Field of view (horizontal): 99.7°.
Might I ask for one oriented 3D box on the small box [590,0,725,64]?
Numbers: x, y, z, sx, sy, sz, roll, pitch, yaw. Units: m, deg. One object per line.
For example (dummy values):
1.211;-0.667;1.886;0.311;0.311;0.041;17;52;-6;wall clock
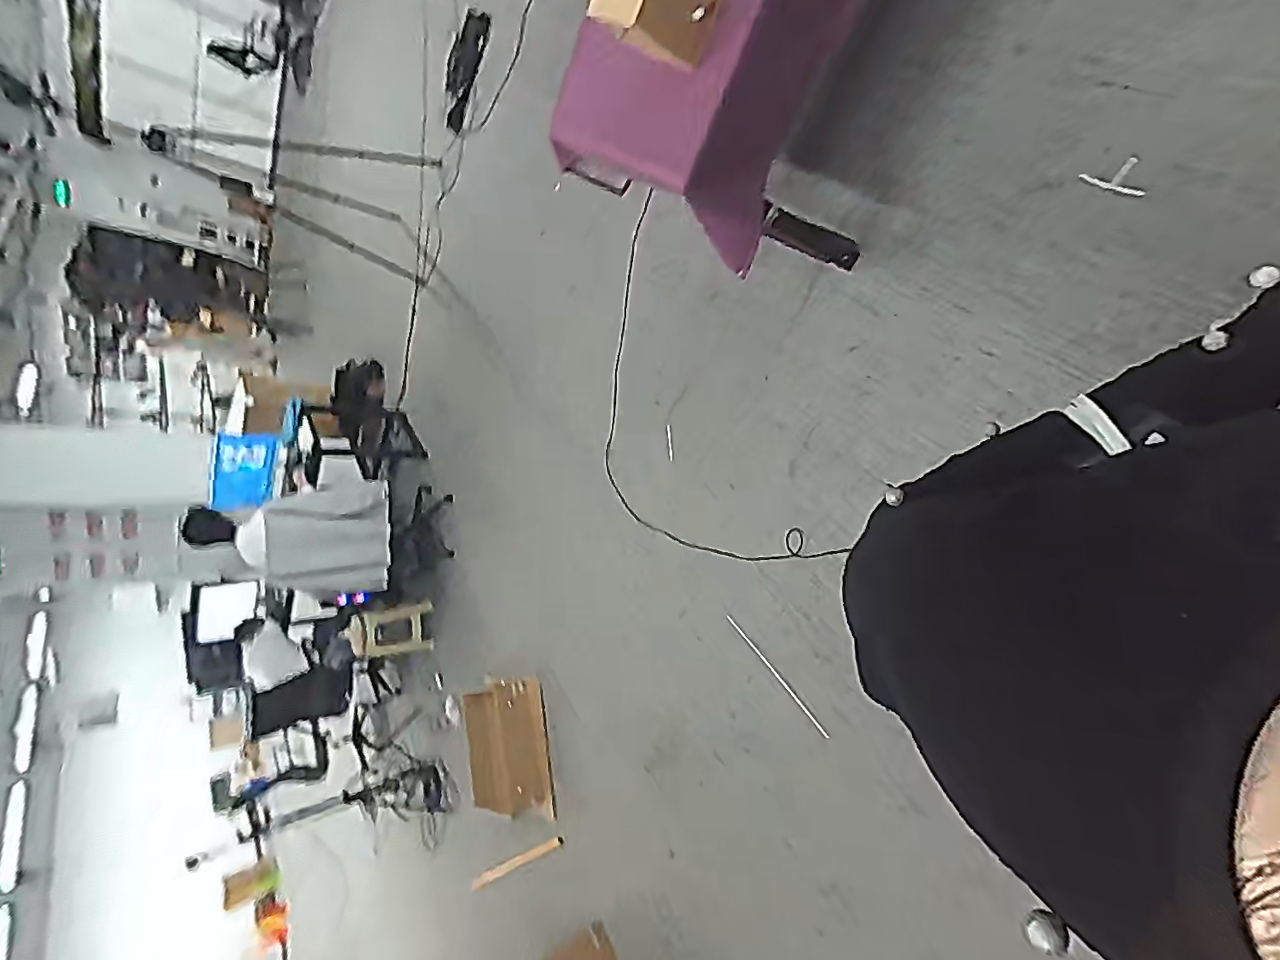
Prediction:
0.041;-0.930;1.022;0.179;0.176;0.168;49;124;34;small box
